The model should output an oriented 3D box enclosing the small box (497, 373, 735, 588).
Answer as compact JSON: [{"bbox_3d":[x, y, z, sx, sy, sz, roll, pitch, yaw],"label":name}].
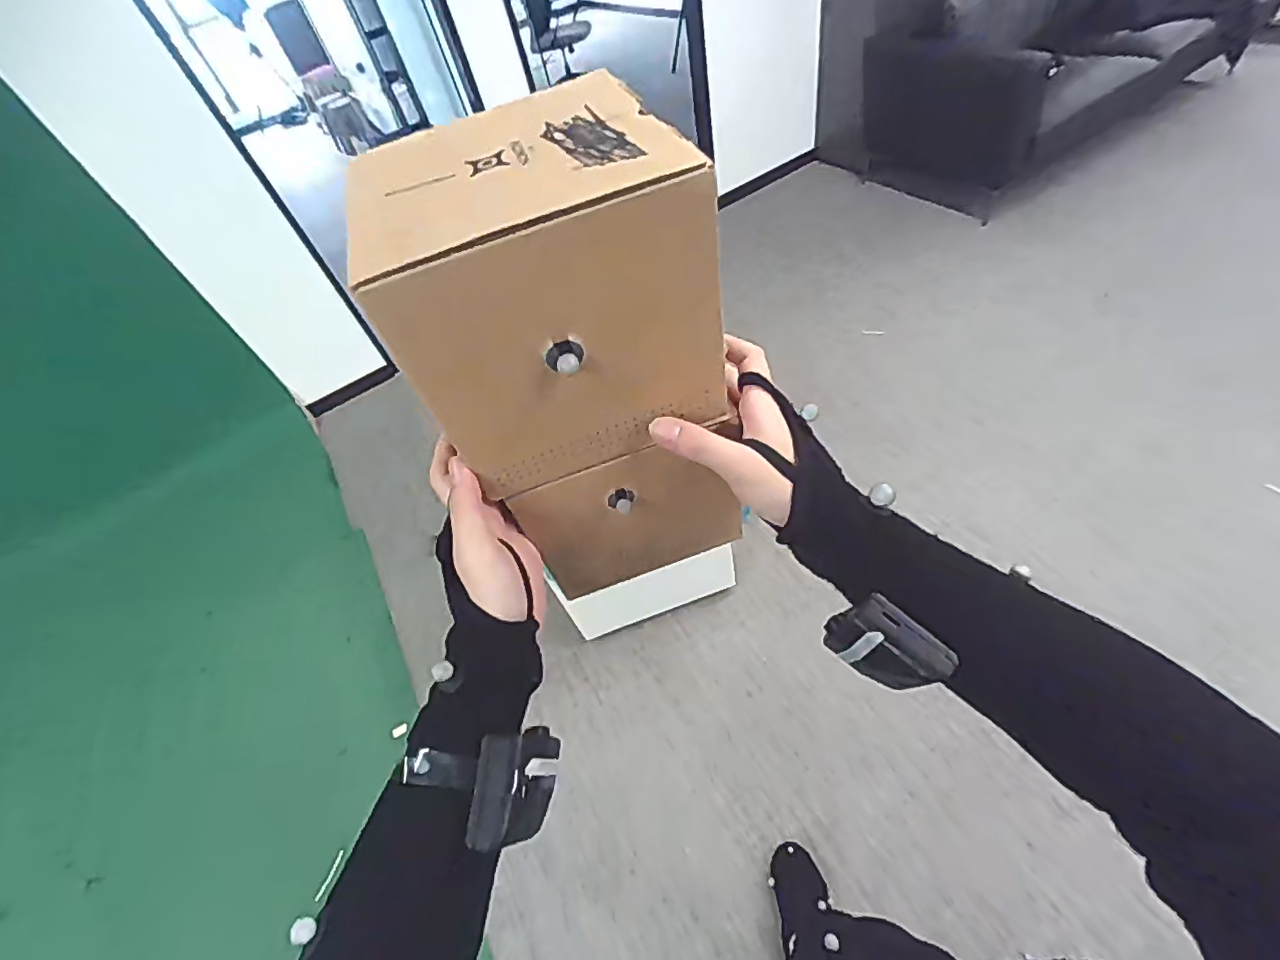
[{"bbox_3d":[-0.025,-0.026,0.490,0.179,0.176,0.168,-19,52,-3],"label":"small box"}]

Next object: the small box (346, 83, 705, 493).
[{"bbox_3d":[-0.064,-0.122,0.362,0.179,0.176,0.168,-22,51,-3],"label":"small box"}]
